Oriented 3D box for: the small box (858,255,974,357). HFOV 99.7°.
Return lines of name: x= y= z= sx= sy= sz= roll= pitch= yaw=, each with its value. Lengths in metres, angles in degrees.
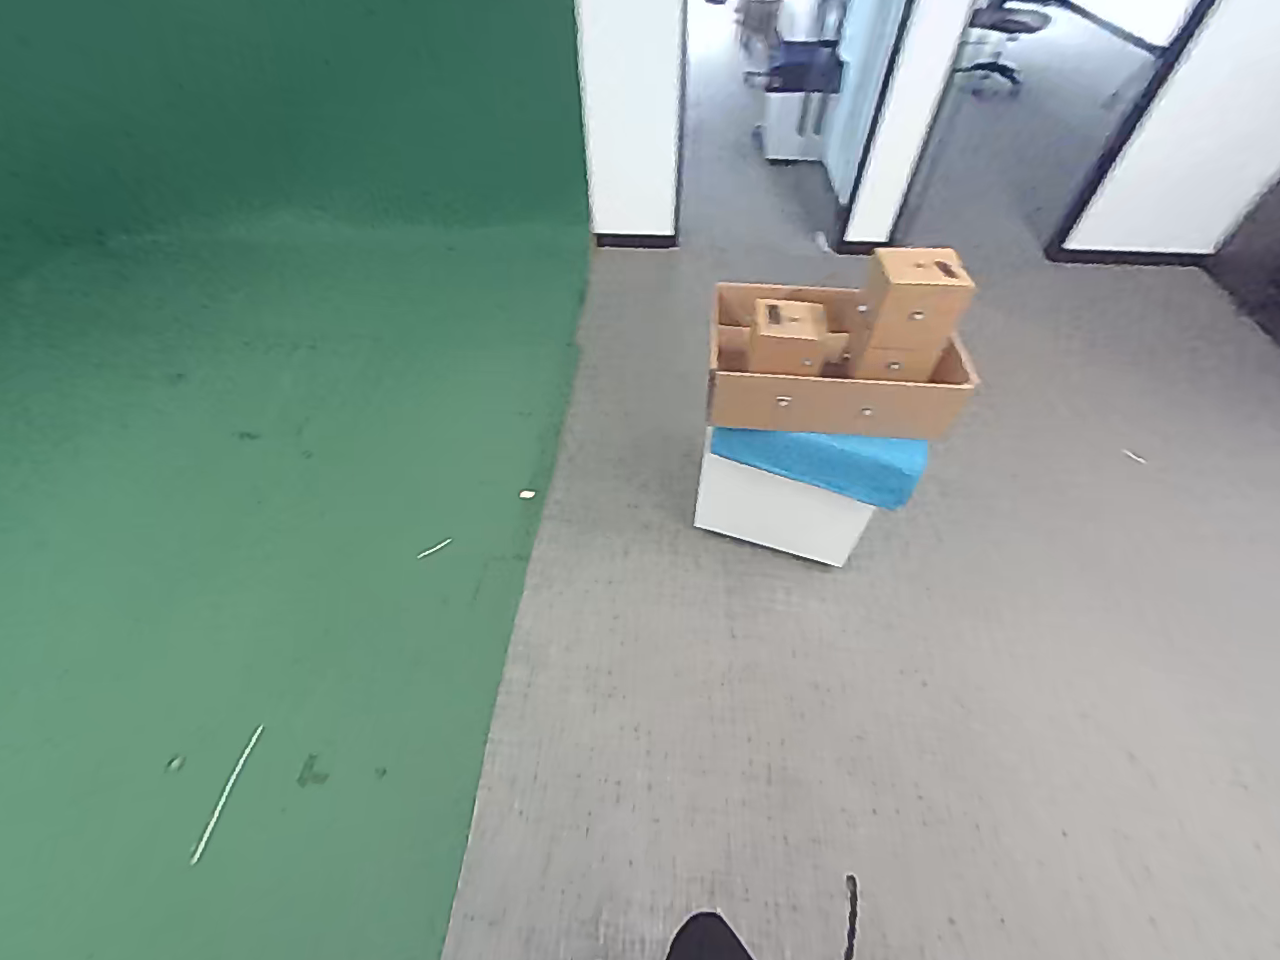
small box: x=0.631 y=-0.401 z=1.259 sx=0.179 sy=0.176 sz=0.168 roll=3 pitch=48 yaw=5
